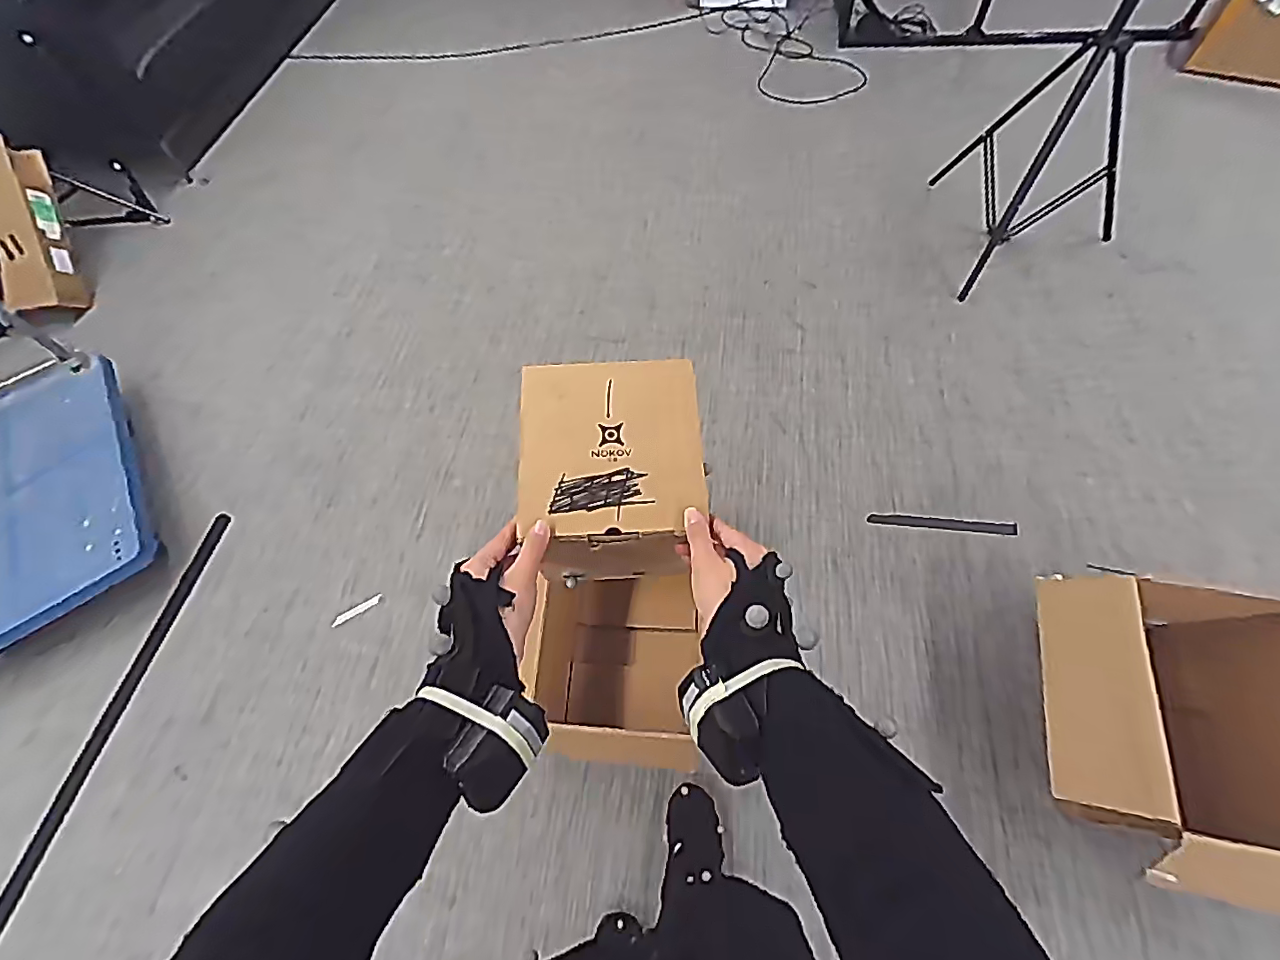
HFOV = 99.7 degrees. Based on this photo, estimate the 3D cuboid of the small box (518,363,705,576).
[{"bbox_3d":[-0.027,-0.001,0.568,0.168,0.176,0.179,-3,66,-2],"label":"small box"}]
